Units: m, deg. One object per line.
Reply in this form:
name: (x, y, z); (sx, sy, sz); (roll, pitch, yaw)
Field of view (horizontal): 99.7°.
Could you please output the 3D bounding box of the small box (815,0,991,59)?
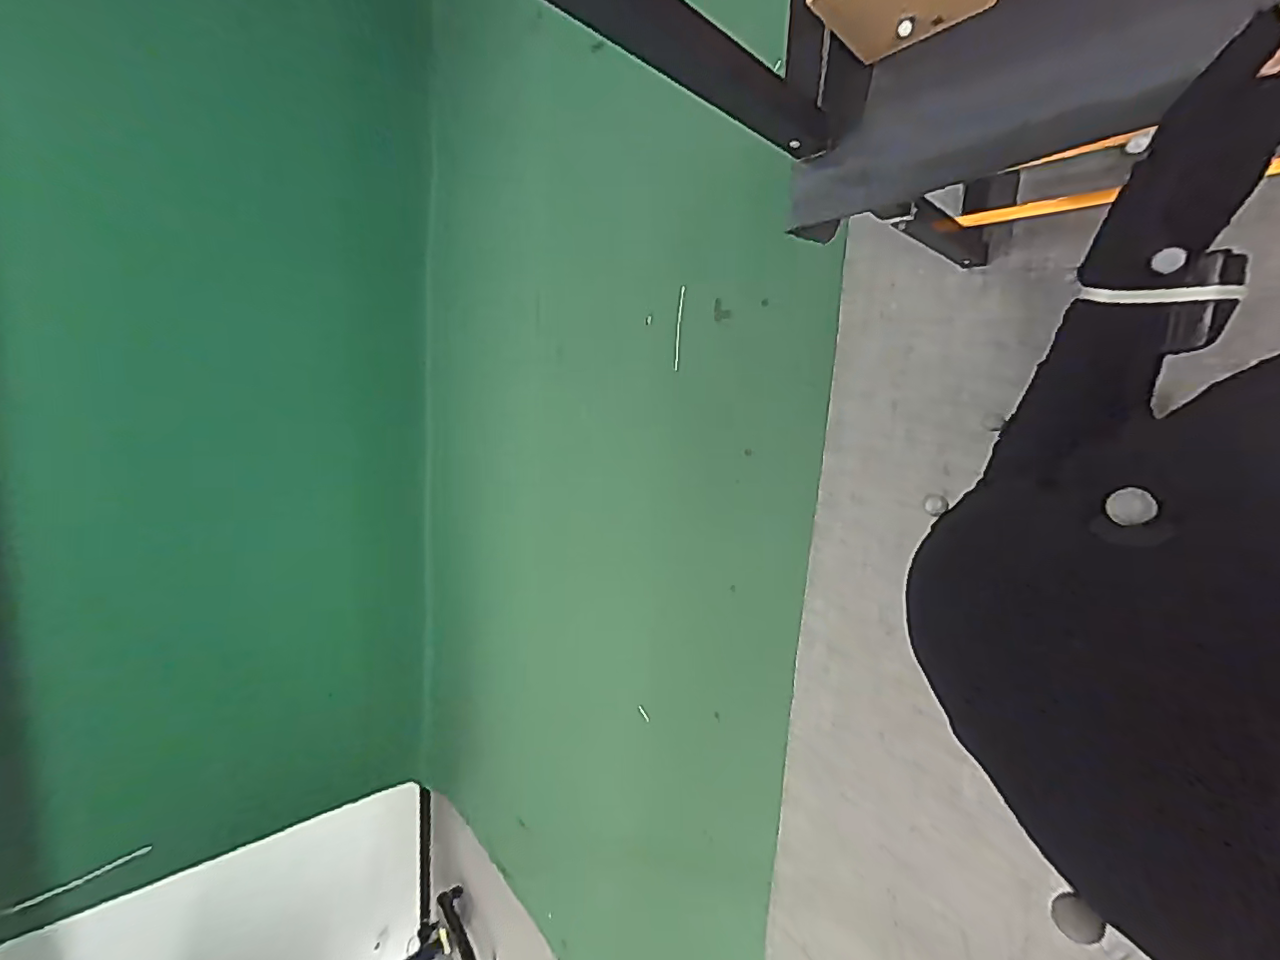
small box: (0.324, -0.671, 0.653); (0.168, 0.176, 0.179); (10, 100, 48)
